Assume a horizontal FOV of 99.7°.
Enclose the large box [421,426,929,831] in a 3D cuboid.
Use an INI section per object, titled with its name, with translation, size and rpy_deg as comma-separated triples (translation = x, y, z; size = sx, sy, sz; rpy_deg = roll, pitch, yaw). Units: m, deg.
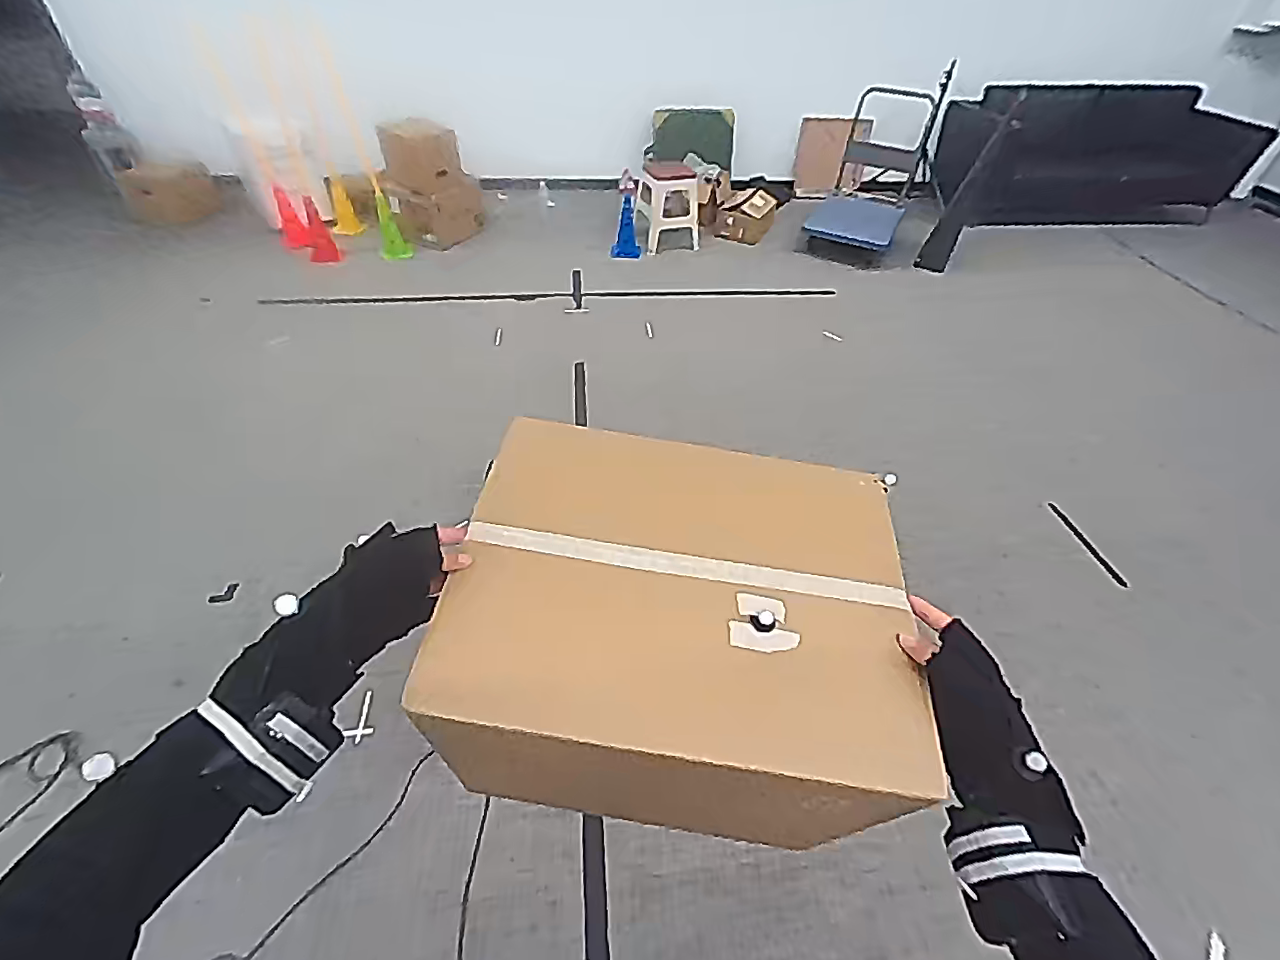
[large box]
translation = 0.026, 0.177, 0.619
size = 0.408, 0.320, 0.320
rpy_deg = 9, 51, 0
